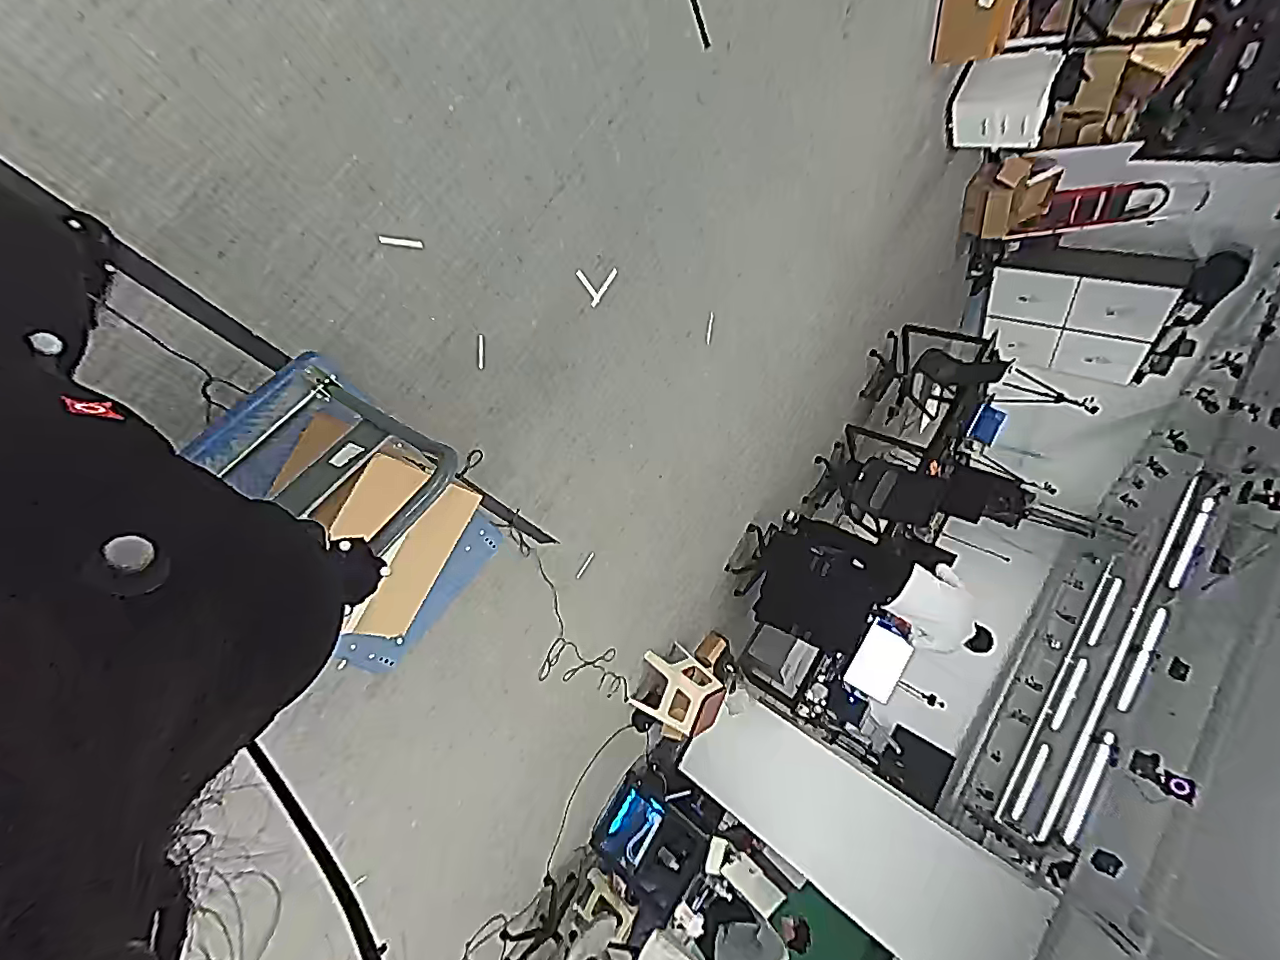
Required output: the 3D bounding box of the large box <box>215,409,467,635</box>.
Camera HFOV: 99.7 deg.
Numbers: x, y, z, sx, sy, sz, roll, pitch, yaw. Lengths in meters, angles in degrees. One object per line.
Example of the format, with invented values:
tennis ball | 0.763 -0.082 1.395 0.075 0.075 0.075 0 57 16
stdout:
large box | -0.701 0.102 1.288 0.408 0.320 0.320 -61 145 -5
